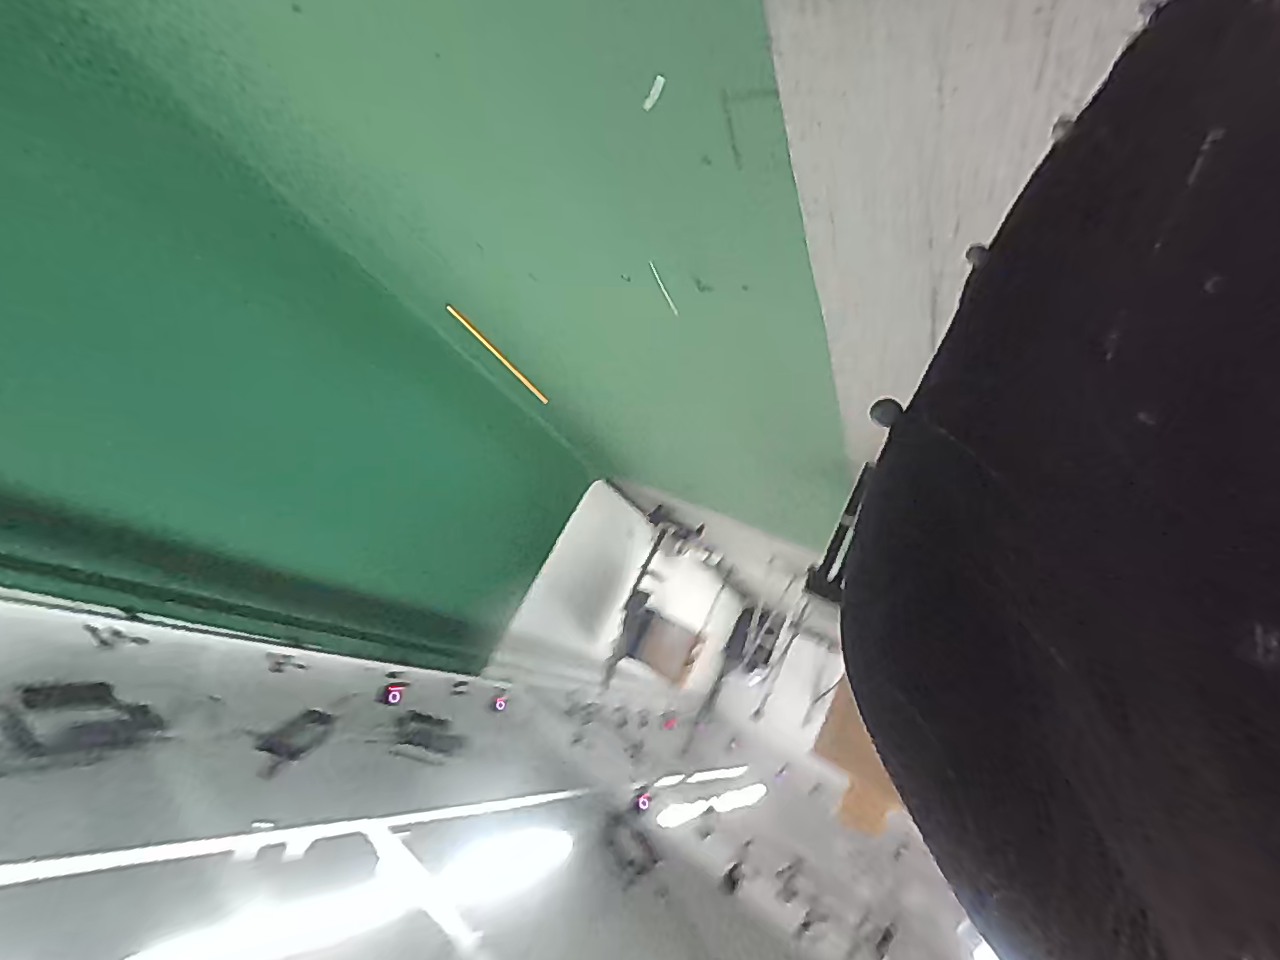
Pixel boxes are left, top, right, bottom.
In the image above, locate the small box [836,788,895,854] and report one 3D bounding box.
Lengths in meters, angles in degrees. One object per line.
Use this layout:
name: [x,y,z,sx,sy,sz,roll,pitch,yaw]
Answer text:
small box: [0.957,1.442,2.300,0.179,0.176,0.168,23,164,24]
